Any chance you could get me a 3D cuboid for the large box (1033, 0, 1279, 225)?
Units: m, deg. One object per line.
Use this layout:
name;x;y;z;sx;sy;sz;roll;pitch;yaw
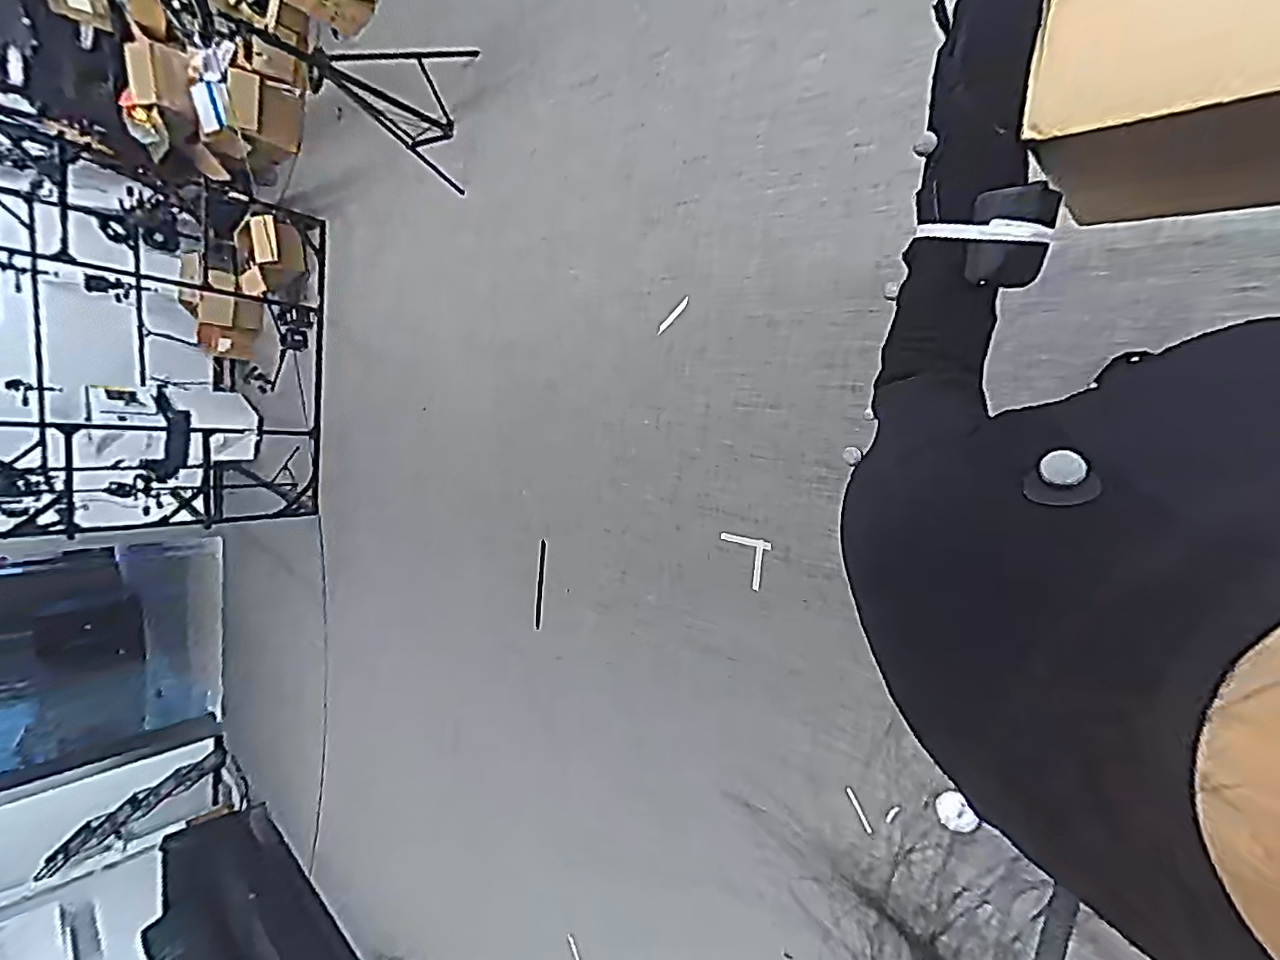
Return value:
large box;0.515;-0.371;0.317;0.408;0.320;0.320;13;108;42
